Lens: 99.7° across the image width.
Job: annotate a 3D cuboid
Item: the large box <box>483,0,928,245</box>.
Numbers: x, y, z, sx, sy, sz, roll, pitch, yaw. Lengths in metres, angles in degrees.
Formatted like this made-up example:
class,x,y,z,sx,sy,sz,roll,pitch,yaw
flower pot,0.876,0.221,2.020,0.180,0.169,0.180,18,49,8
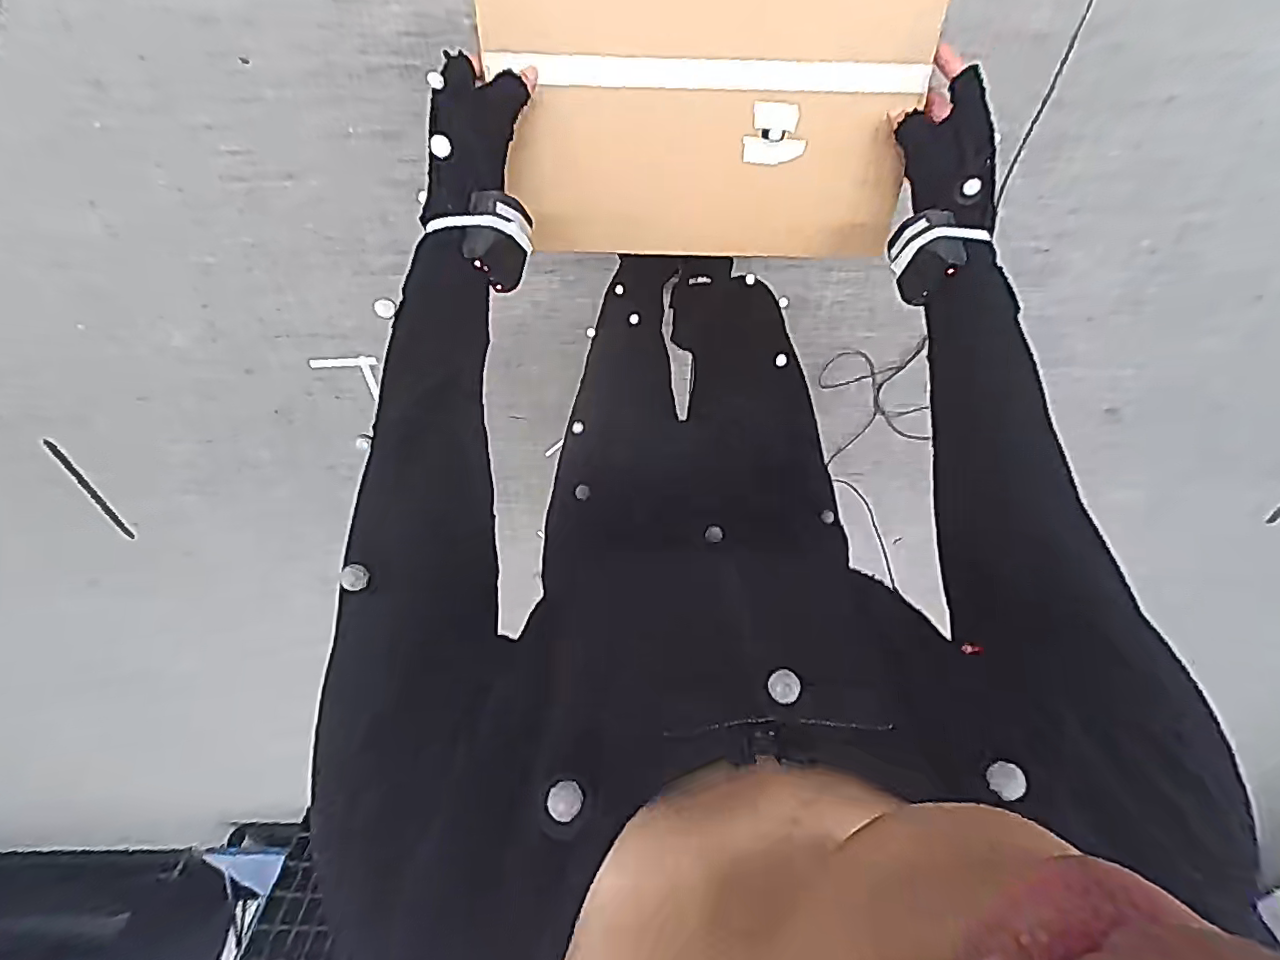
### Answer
class,x,y,z,sx,sy,sz,roll,pitch,yaw
large box,0.053,-0.471,0.629,0.408,0.320,0.320,0,126,-2
